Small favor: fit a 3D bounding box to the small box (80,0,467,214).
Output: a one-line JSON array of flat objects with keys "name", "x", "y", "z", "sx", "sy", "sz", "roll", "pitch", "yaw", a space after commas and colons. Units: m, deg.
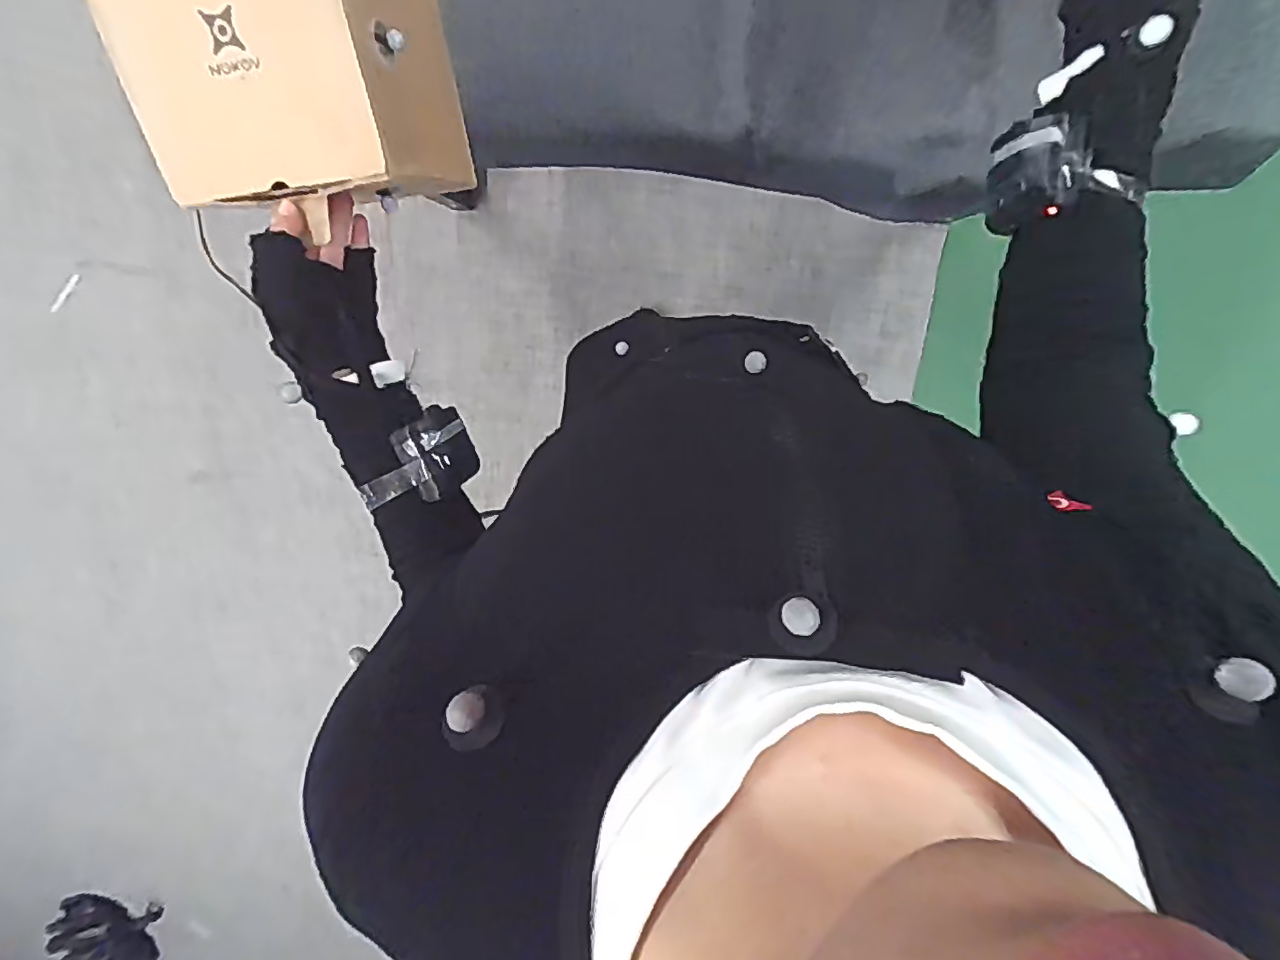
[{"name": "small box", "x": -0.250, "y": -0.306, "z": 0.404, "sx": 0.168, "sy": 0.176, "sz": 0.179, "roll": -5, "pitch": 115, "yaw": 7}]
